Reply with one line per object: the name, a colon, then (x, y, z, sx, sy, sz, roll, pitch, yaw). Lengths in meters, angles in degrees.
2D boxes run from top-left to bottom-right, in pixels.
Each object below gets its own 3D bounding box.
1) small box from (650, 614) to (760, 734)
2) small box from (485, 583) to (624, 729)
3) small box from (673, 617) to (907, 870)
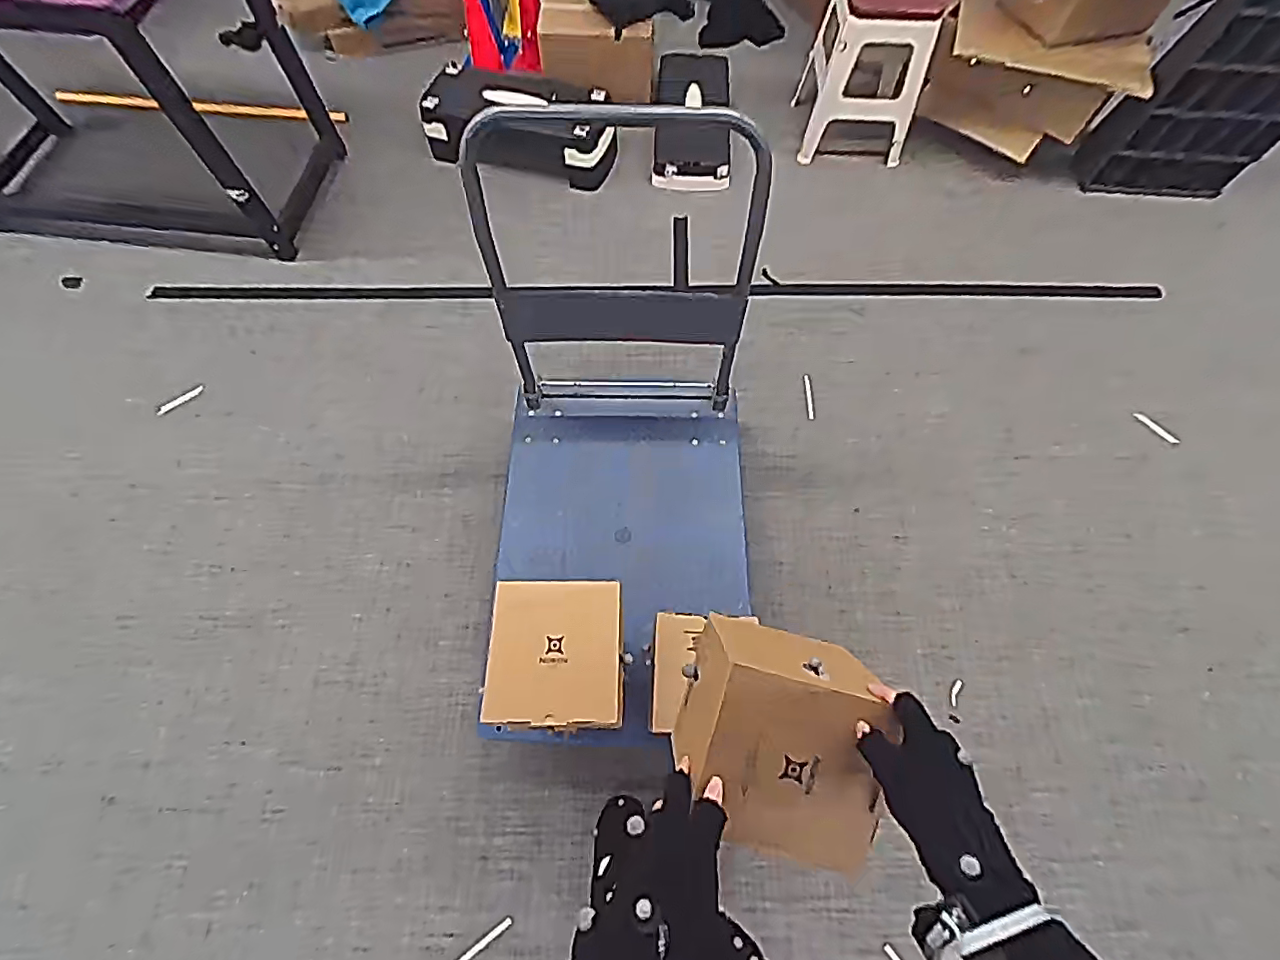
small box: (0.104, 0.330, 0.901, 0.168, 0.176, 0.179, 2, 66, 1)
small box: (-0.107, 0.250, 0.756, 0.168, 0.176, 0.179, 0, 66, -1)
small box: (0.143, 0.263, 0.582, 0.179, 0.176, 0.168, 15, 91, -1)
